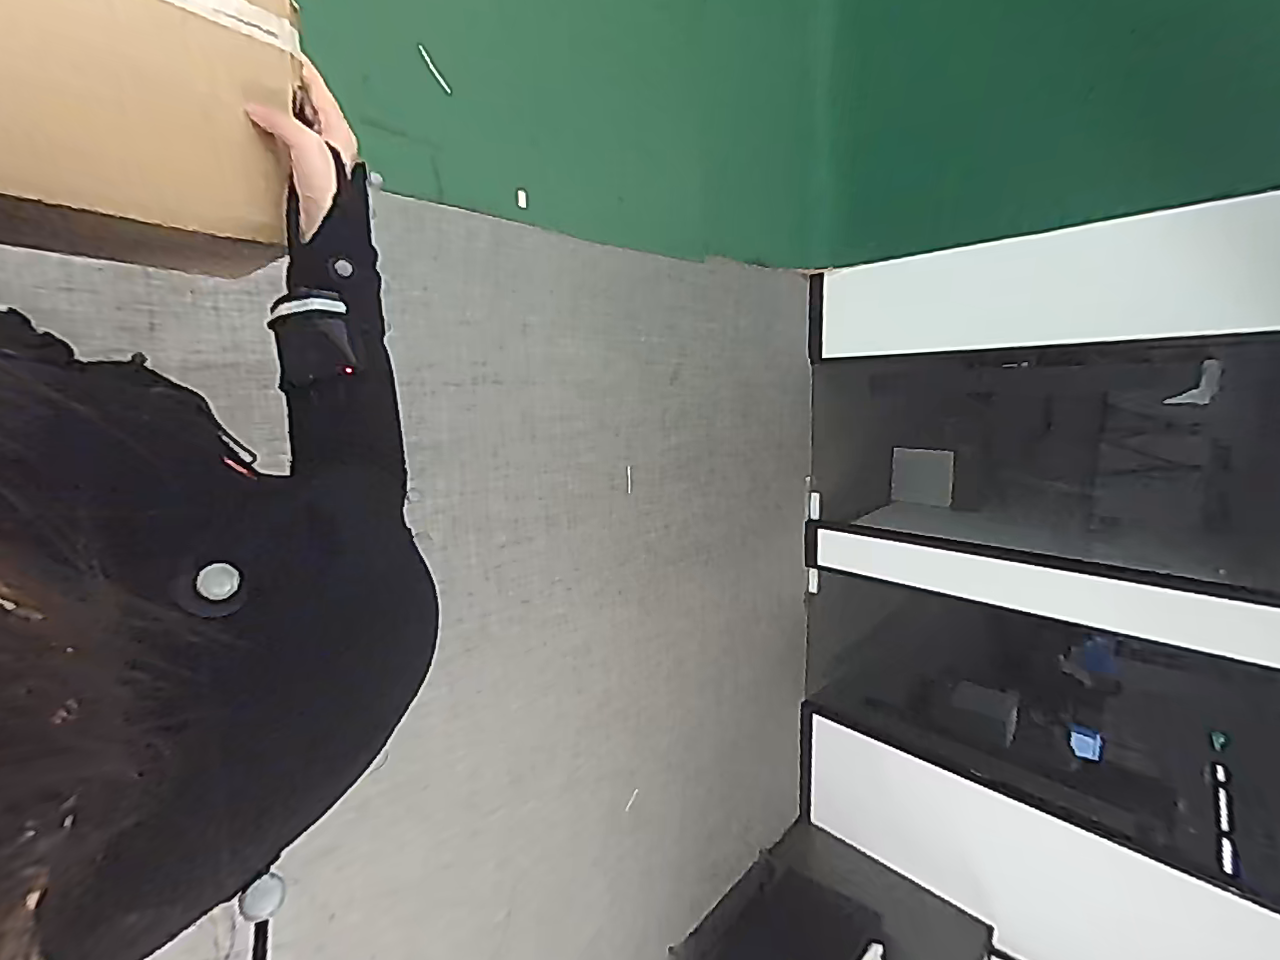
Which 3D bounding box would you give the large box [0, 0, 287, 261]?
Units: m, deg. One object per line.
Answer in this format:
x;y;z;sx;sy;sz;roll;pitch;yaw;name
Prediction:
-0.534;-0.367;0.404;0.408;0.320;0.320;-6;105;-42;large box
